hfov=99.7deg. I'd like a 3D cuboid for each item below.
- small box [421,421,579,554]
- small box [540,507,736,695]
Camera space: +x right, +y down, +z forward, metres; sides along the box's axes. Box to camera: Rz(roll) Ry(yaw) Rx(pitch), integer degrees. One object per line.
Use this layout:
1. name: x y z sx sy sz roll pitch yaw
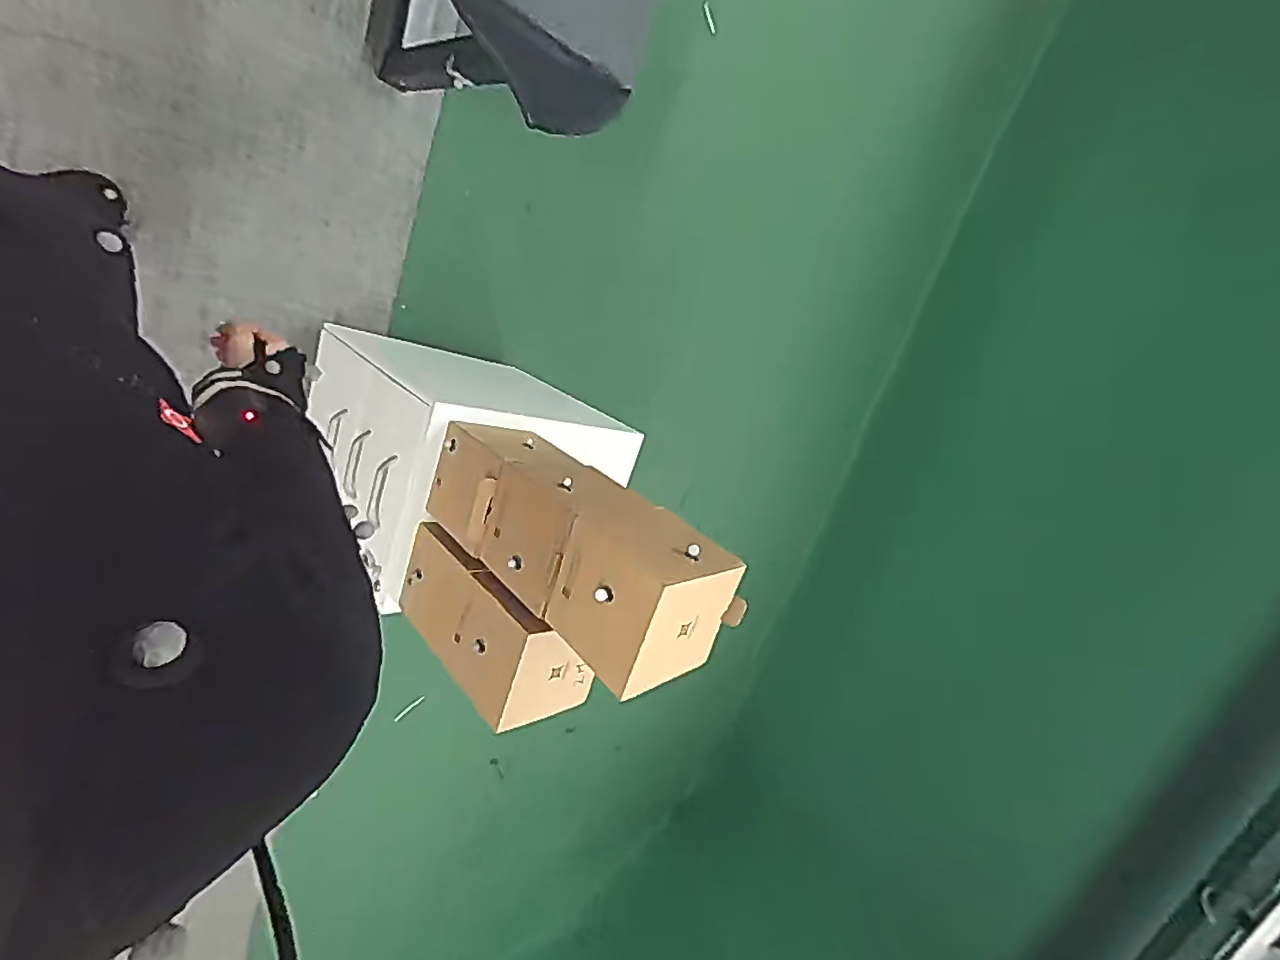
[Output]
1. small box: -0.239 0.010 0.911 0.179 0.176 0.168 3 113 -51
2. small box: -0.008 0.147 0.729 0.179 0.176 0.168 -2 117 -49
